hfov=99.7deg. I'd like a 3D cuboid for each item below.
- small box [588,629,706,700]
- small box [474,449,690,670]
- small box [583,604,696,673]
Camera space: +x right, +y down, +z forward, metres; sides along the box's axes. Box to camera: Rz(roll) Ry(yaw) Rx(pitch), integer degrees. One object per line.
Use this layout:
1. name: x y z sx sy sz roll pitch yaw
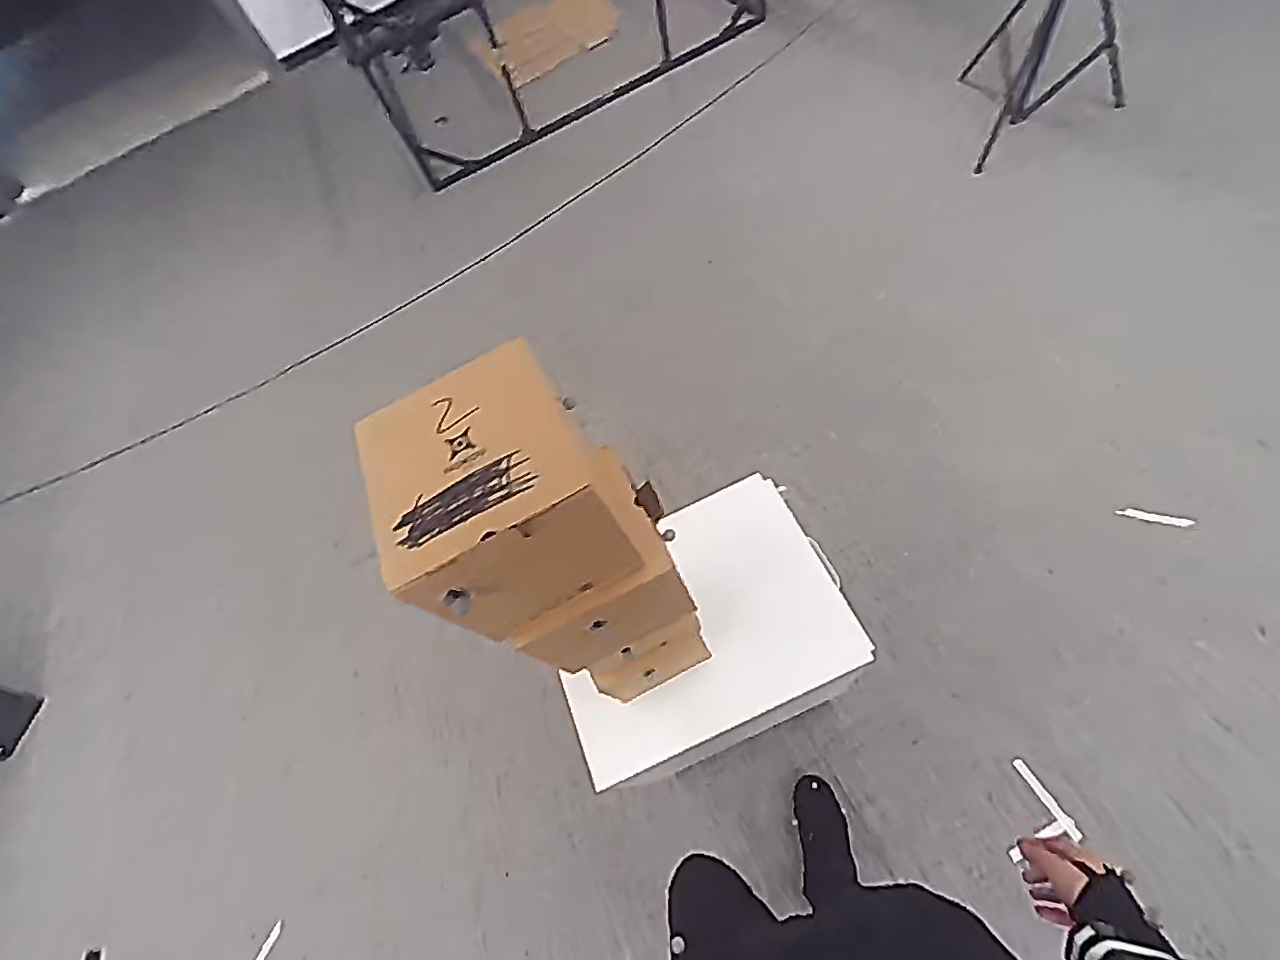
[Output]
1. small box: -0.004 0.252 0.914 0.179 0.176 0.168 -28 60 -2
2. small box: -0.059 0.101 0.629 0.179 0.176 0.168 -27 60 -1
3. small box: -0.033 0.162 0.781 0.168 0.176 0.179 -27 59 -1
